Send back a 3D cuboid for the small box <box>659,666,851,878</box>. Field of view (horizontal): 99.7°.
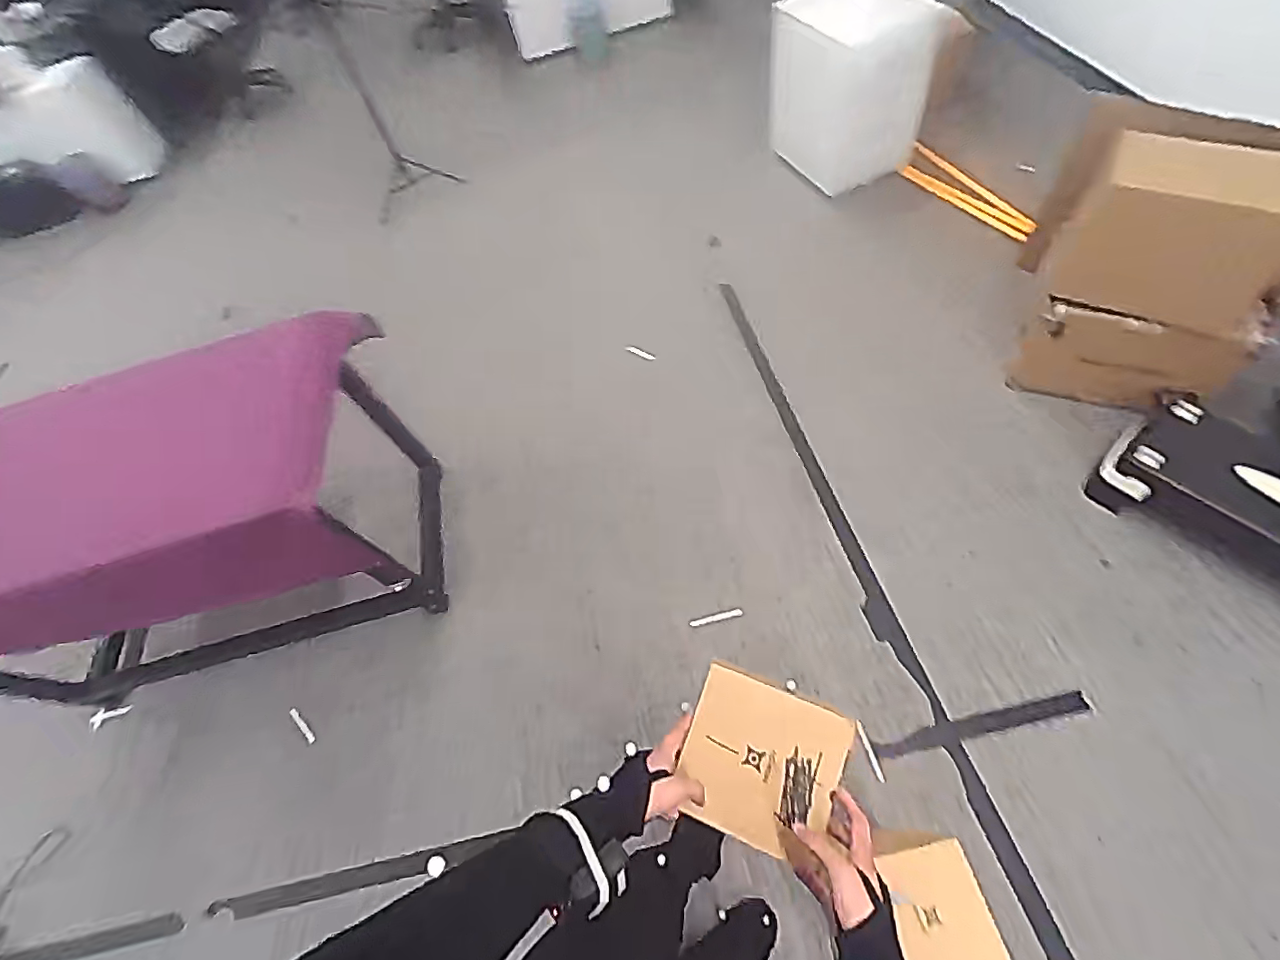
[{"bbox_3d":[0.140,0.347,0.688,0.179,0.176,0.168,20,78,13],"label":"small box"}]

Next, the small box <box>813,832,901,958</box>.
[{"bbox_3d":[0.481,0.861,1.140,0.179,0.176,0.168,-18,58,1],"label":"small box"}]

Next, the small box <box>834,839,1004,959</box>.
[{"bbox_3d":[0.432,0.692,0.864,0.179,0.176,0.168,-15,59,2],"label":"small box"}]
